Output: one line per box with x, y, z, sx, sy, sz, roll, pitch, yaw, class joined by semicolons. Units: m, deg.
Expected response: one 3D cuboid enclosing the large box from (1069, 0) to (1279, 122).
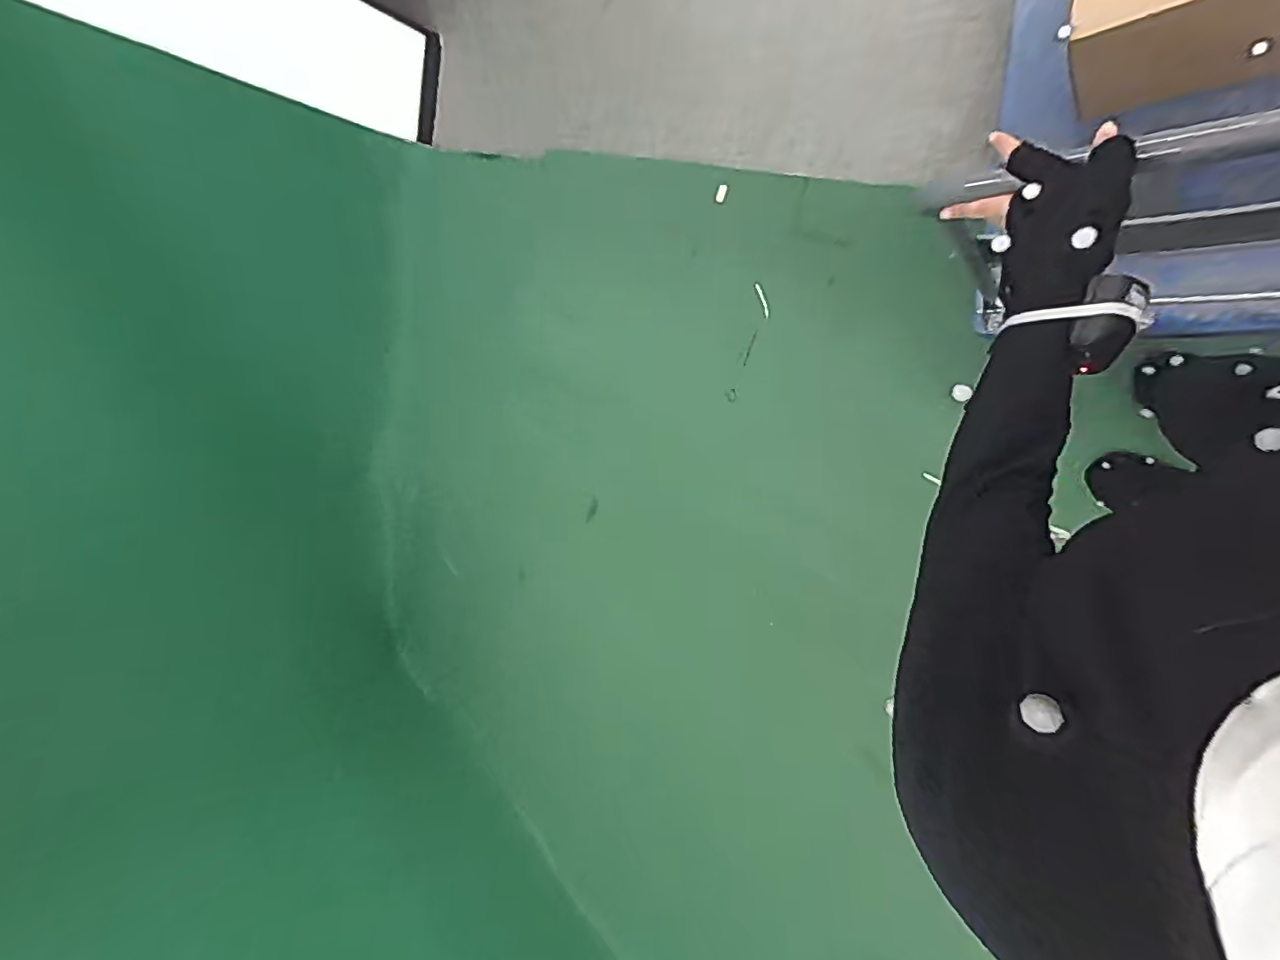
0.853;-0.761;0.721;0.408;0.320;0.320;8;100;41;large box
